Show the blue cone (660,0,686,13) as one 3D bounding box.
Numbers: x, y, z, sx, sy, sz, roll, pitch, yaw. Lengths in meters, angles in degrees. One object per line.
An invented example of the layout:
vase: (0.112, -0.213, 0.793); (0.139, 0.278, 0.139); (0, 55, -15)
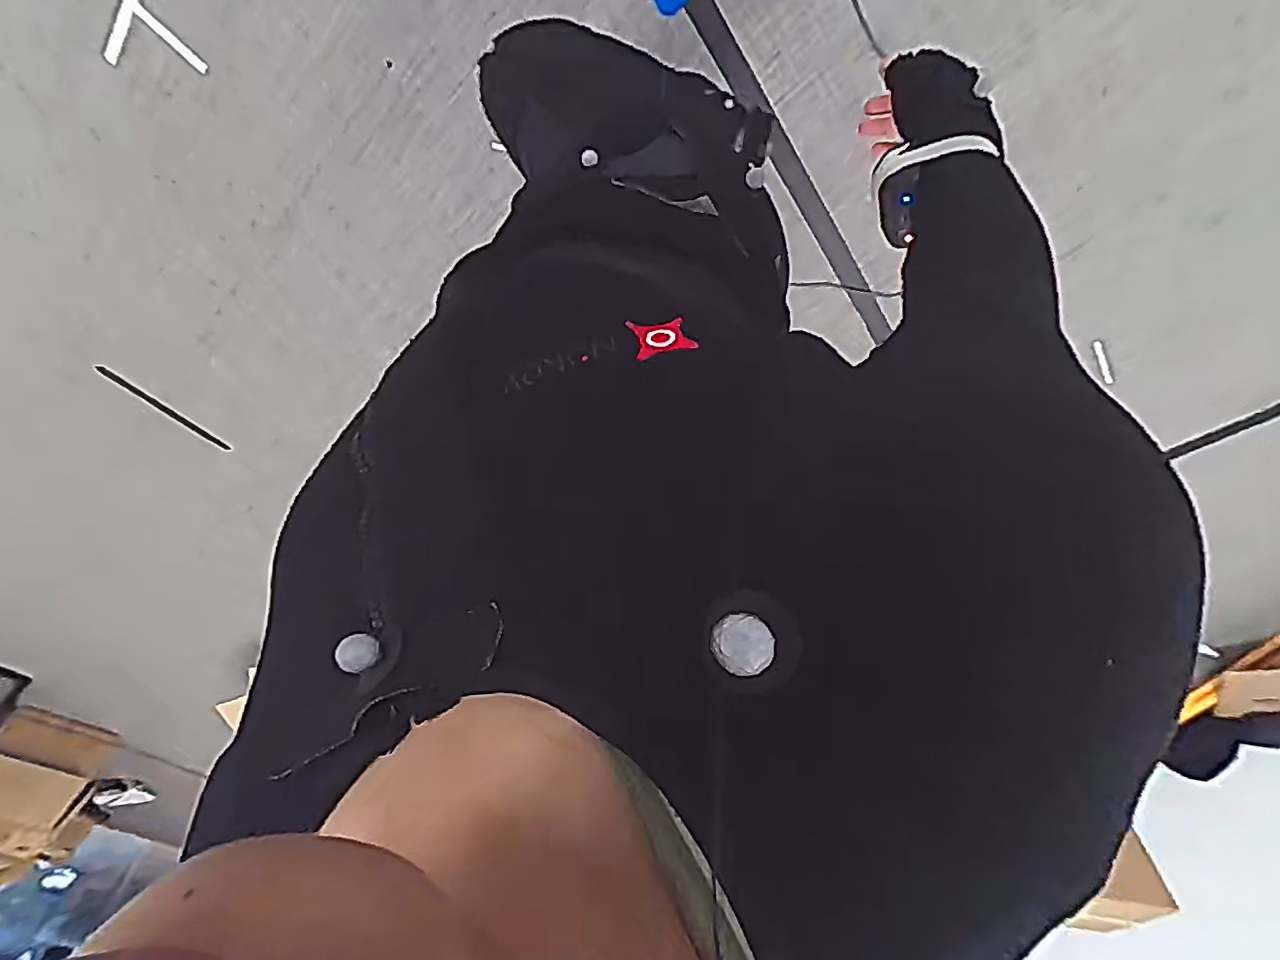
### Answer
blue cone: (0.064, -0.851, 0.791); (0.193, 0.380, 0.192); (-28, 122, 24)
